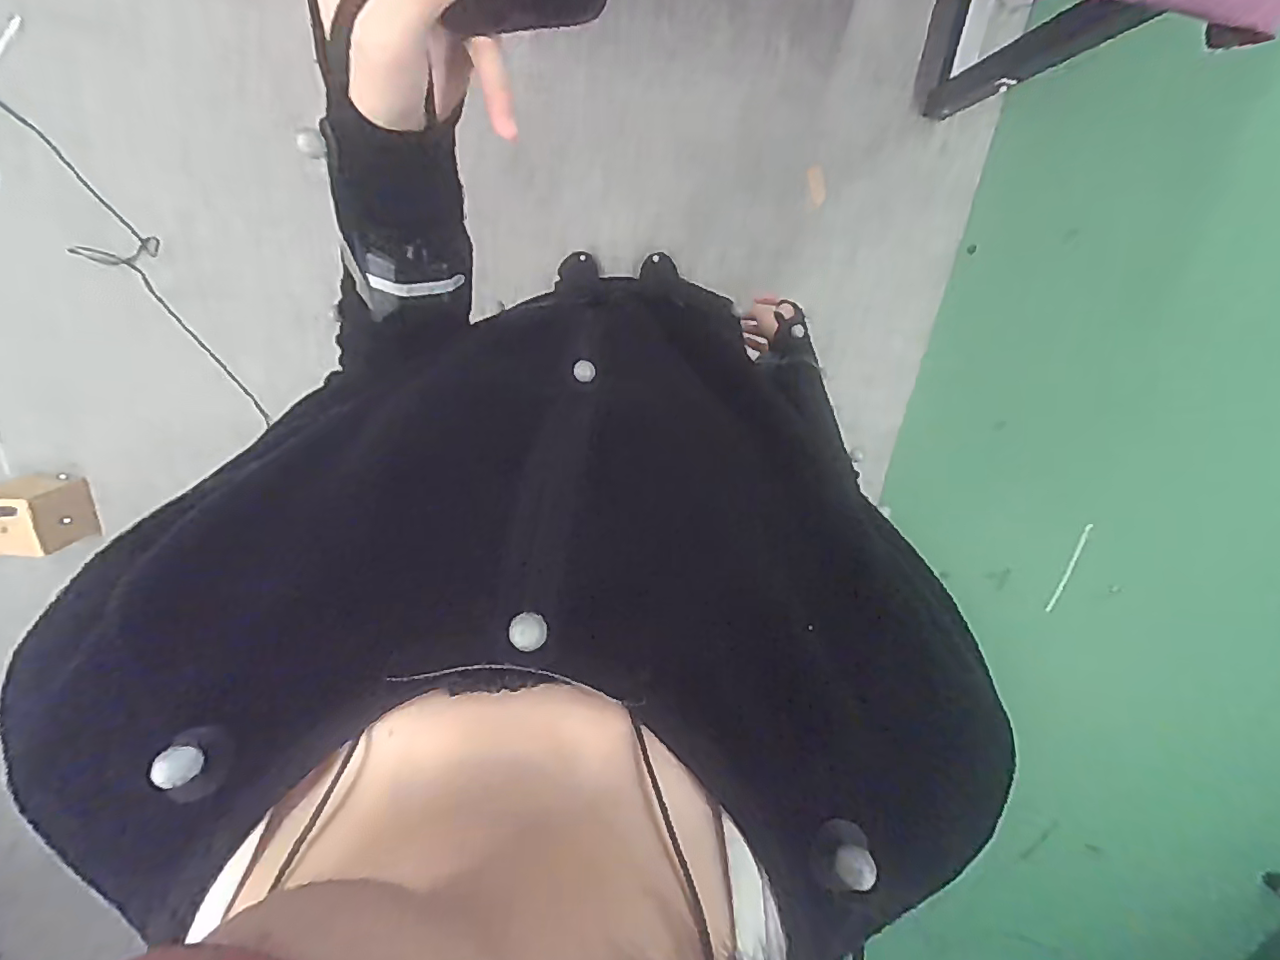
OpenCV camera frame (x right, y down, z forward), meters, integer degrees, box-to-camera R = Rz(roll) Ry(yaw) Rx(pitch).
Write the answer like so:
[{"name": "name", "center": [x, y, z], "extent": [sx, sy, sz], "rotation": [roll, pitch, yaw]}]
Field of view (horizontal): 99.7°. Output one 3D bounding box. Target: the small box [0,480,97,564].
[{"name": "small box", "center": [-1.677, 0.111, 1.496], "extent": [0.168, 0.176, 0.179], "rotation": [6, 112, -2]}]
